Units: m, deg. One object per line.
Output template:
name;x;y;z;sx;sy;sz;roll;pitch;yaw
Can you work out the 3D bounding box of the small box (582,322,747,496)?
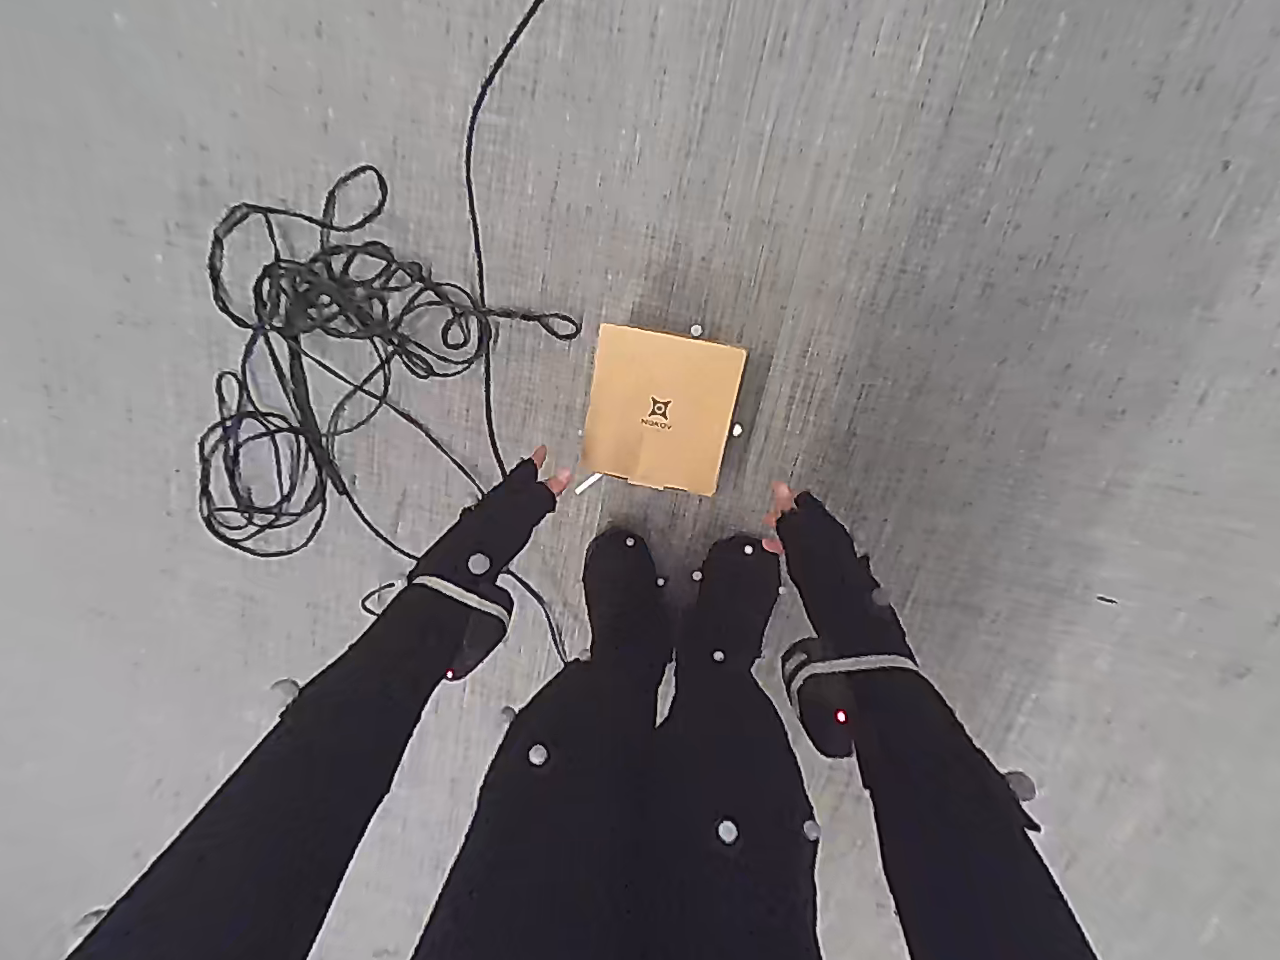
small box;0.033;-0.101;0.693;0.168;0.176;0.179;12;108;5
